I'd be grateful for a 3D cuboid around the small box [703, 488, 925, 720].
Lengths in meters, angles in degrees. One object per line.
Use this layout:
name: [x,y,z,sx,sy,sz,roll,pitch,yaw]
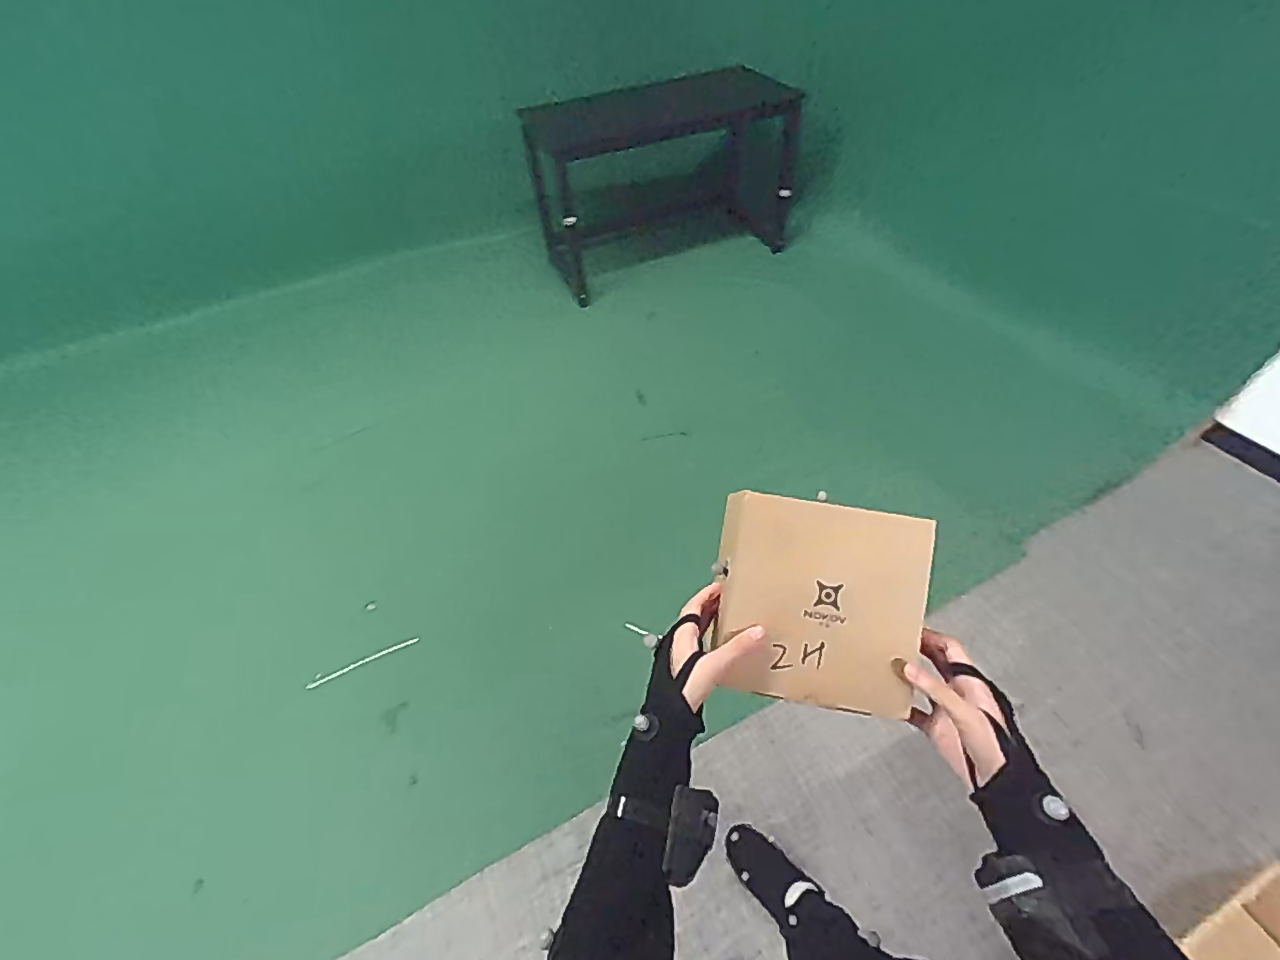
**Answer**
small box: [0.158,0.109,0.546,0.168,0.176,0.179,9,88,5]
